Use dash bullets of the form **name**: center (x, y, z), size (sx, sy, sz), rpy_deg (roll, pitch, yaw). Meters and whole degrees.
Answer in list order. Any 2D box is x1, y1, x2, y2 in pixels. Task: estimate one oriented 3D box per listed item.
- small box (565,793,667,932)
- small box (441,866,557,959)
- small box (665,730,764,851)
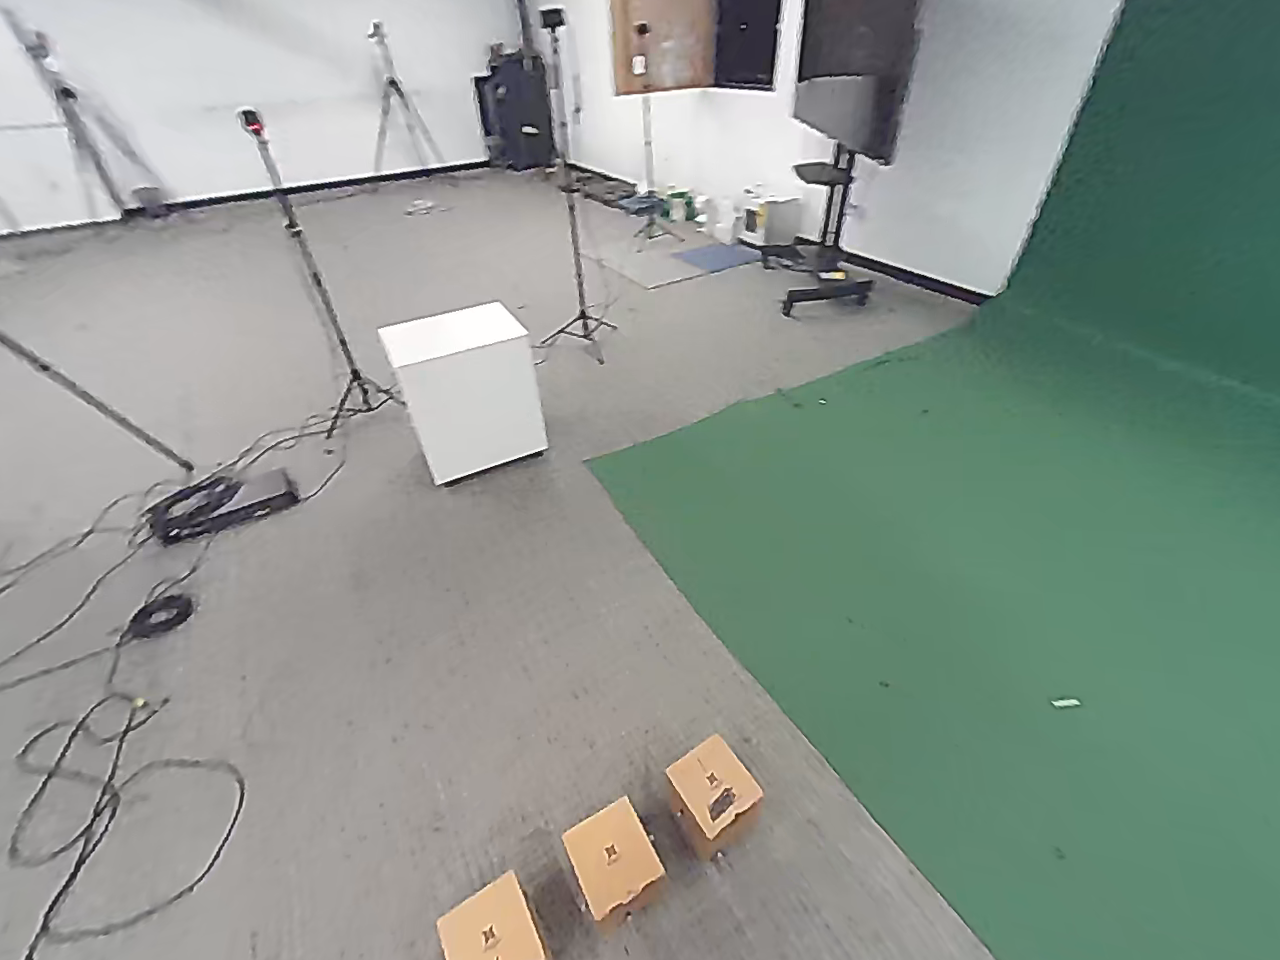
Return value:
- **small box**: center (-0.054, 0.852, 1.205), size (0.168, 0.176, 0.179), rpy_deg (-22, 44, -21)
- **small box**: center (-0.282, 0.946, 1.100), size (0.168, 0.176, 0.179), rpy_deg (-24, 45, -22)
- **small box**: center (0.176, 0.755, 1.306), size (0.168, 0.176, 0.179), rpy_deg (-24, 44, -24)
